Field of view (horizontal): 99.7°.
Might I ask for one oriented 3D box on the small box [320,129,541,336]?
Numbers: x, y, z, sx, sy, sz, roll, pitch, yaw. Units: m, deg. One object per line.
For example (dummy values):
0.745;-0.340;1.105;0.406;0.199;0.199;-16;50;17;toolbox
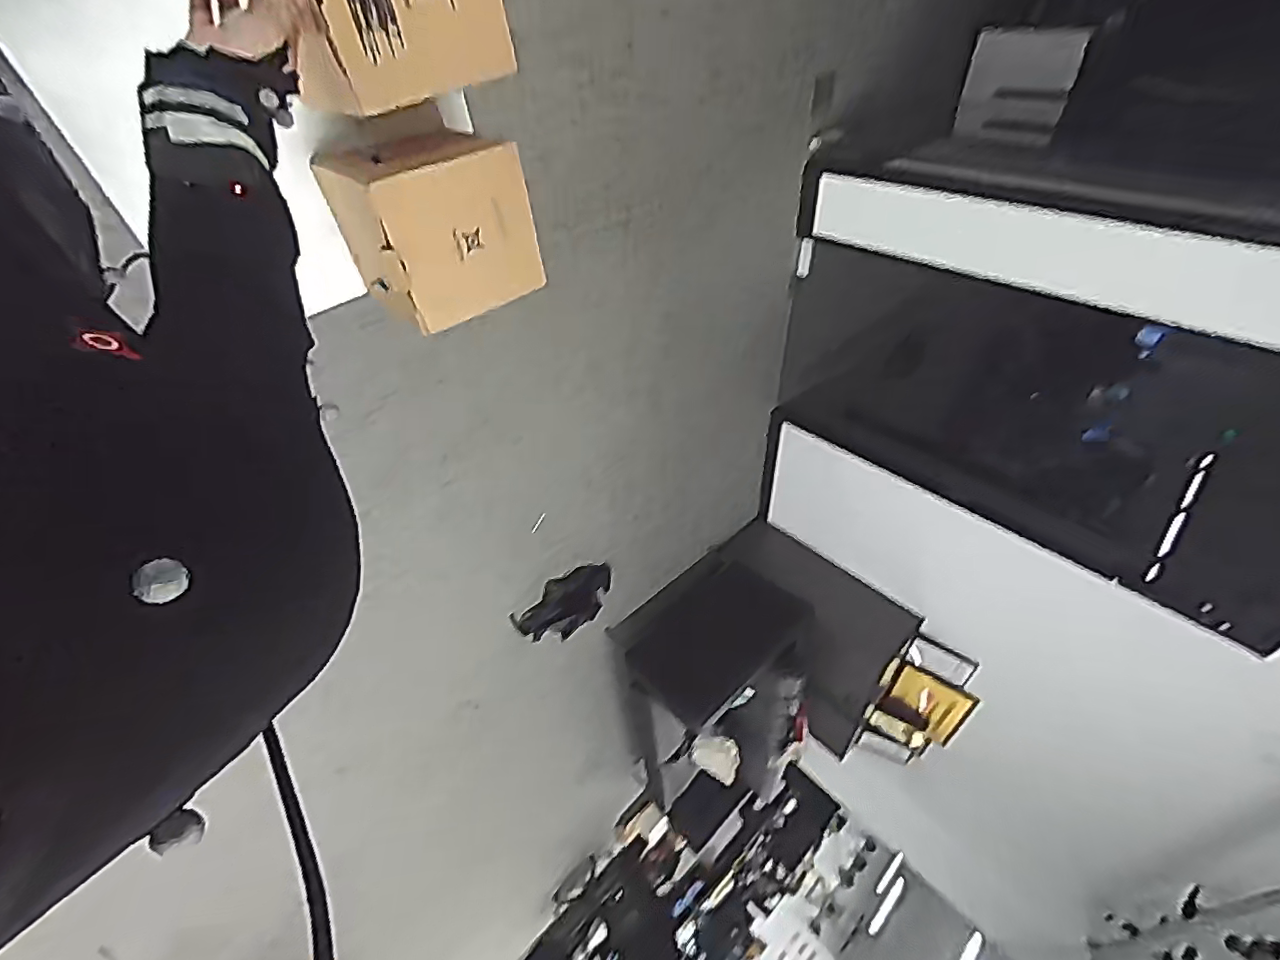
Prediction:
-0.252;-0.304;0.653;0.179;0.176;0.168;-37;143;-26;small box
